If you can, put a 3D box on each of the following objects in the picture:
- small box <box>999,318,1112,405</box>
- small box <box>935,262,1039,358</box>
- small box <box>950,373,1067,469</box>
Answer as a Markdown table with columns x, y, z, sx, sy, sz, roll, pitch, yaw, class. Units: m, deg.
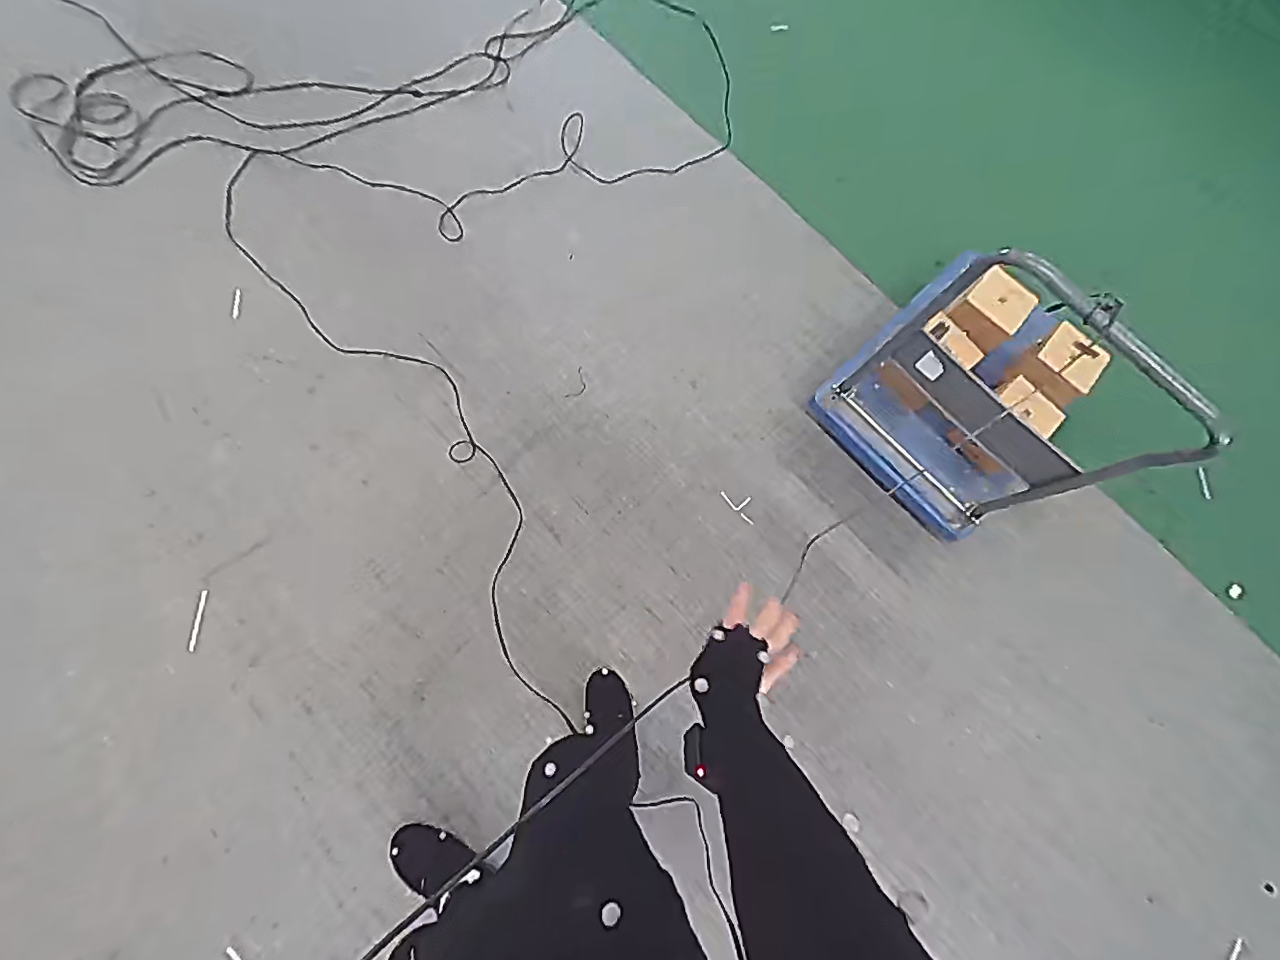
| x | y | z | sx | sy | sz | roll | pitch | yaw | class |
| --- | --- | --- | --- | --- | --- | --- | --- | --- | --- |
| 1.204 | -0.329 | 1.579 | 0.168 | 0.176 | 0.179 | 43 | 73 | 7 | small box |
| 1.020 | -0.497 | 1.607 | 0.168 | 0.176 | 0.179 | 43 | 72 | 6 | small box |
| 1.011 | -0.158 | 1.499 | 0.179 | 0.176 | 0.168 | -40 | 82 | -17 | small box |
